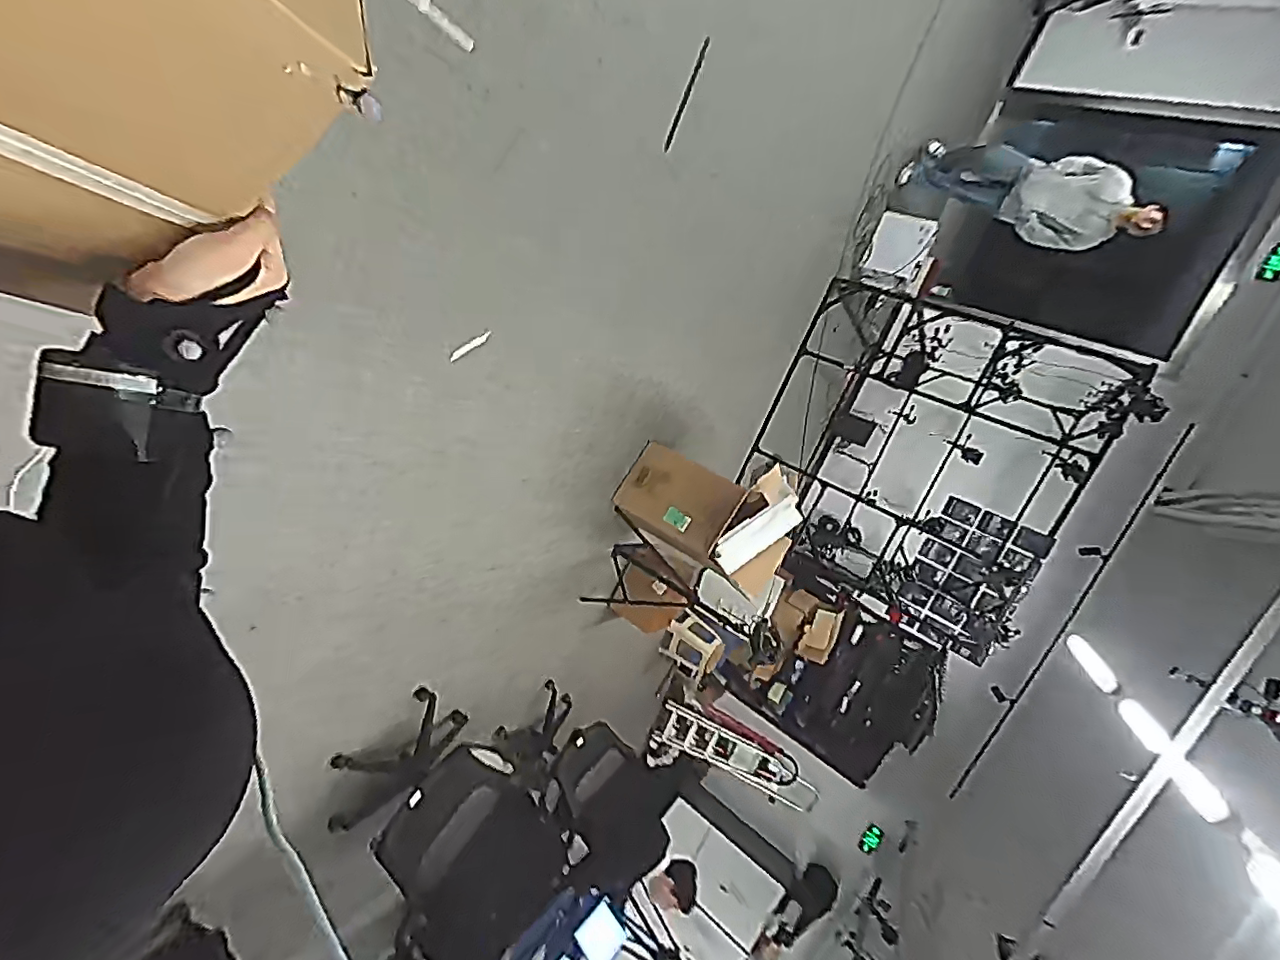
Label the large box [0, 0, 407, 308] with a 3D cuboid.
[{"bbox_3d":[-0.385,-0.341,0.226,0.408,0.320,0.320,10,64,-58],"label":"large box"}]
